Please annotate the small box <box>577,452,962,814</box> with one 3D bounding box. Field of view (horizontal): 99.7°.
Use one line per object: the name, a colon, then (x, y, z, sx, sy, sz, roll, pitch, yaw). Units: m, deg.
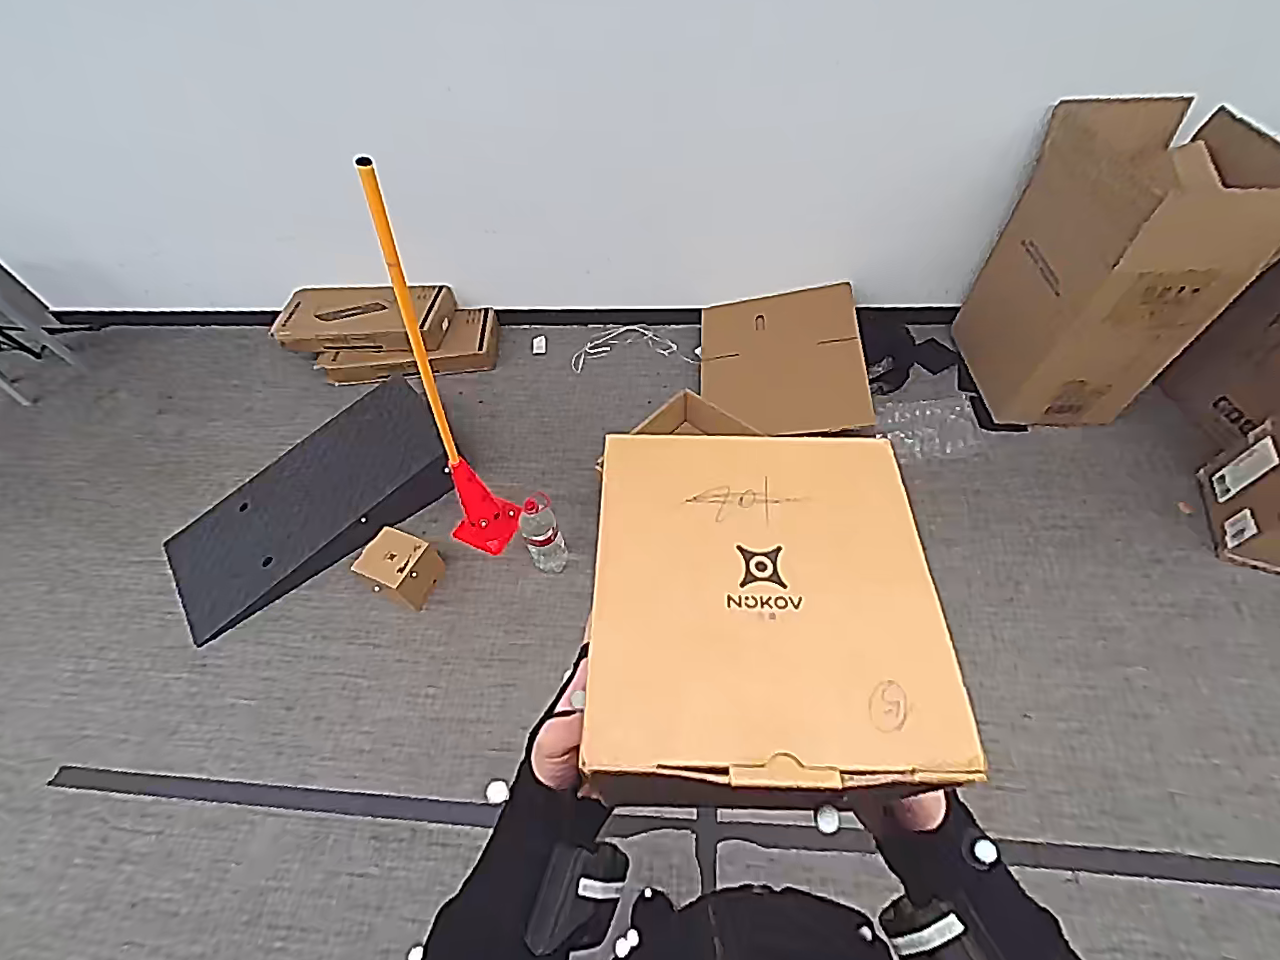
small box: (0.058, 0.102, 0.340, 0.168, 0.176, 0.179, 2, 54, 0)
